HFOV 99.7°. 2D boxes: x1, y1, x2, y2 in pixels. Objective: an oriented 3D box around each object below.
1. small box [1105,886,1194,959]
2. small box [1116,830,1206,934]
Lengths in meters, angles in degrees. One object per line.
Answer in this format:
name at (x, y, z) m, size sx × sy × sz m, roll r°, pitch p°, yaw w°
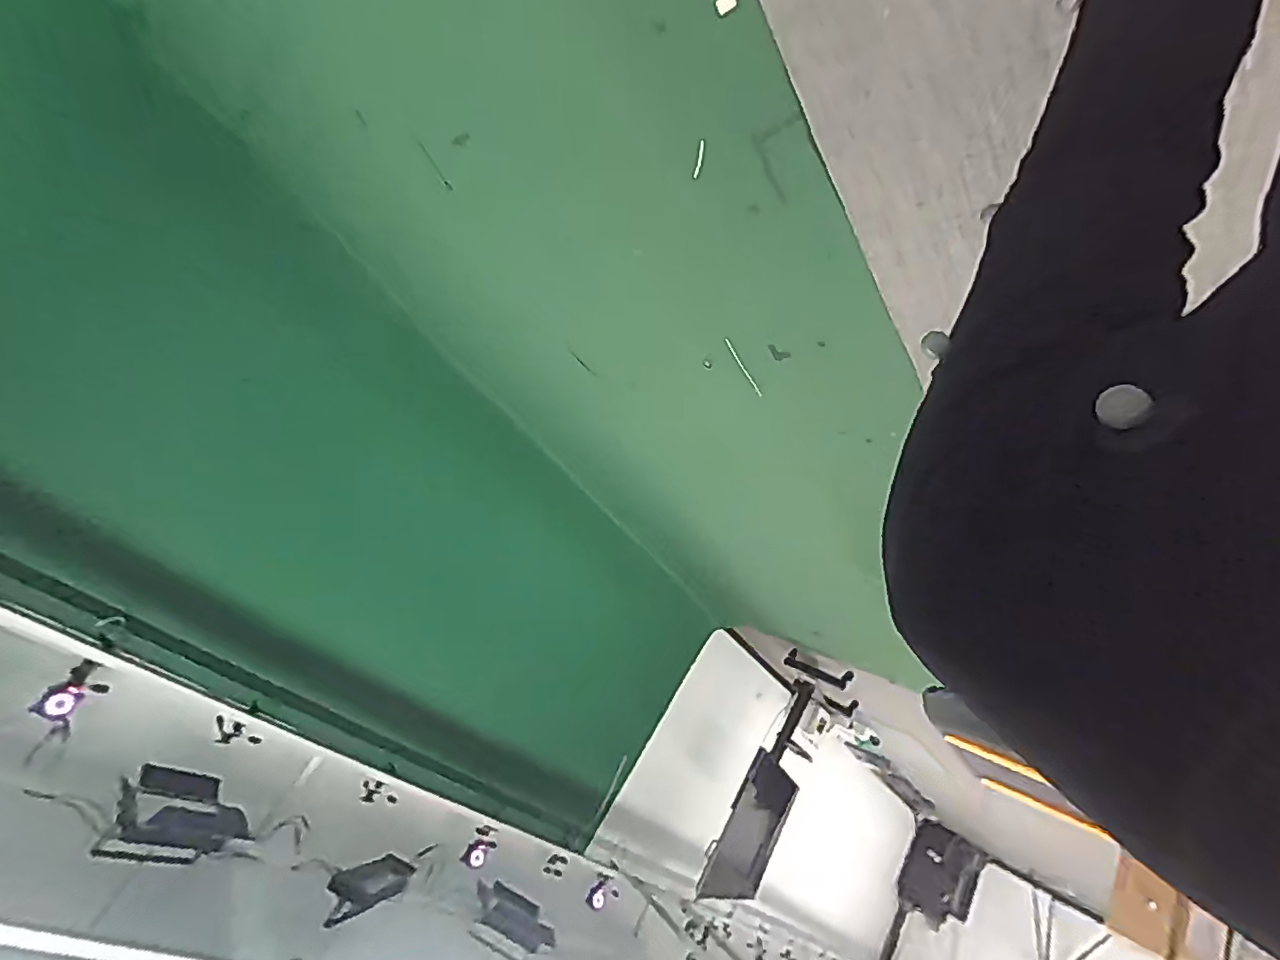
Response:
small box at (1.482, 1.330, 1.570) m, size 0.168 × 0.176 × 0.179 m, roll 8°, pitch 146°, yaw 49°
small box at (1.569, 1.201, 1.624) m, size 0.168 × 0.176 × 0.179 m, roll 5°, pitch 143°, yaw 53°
